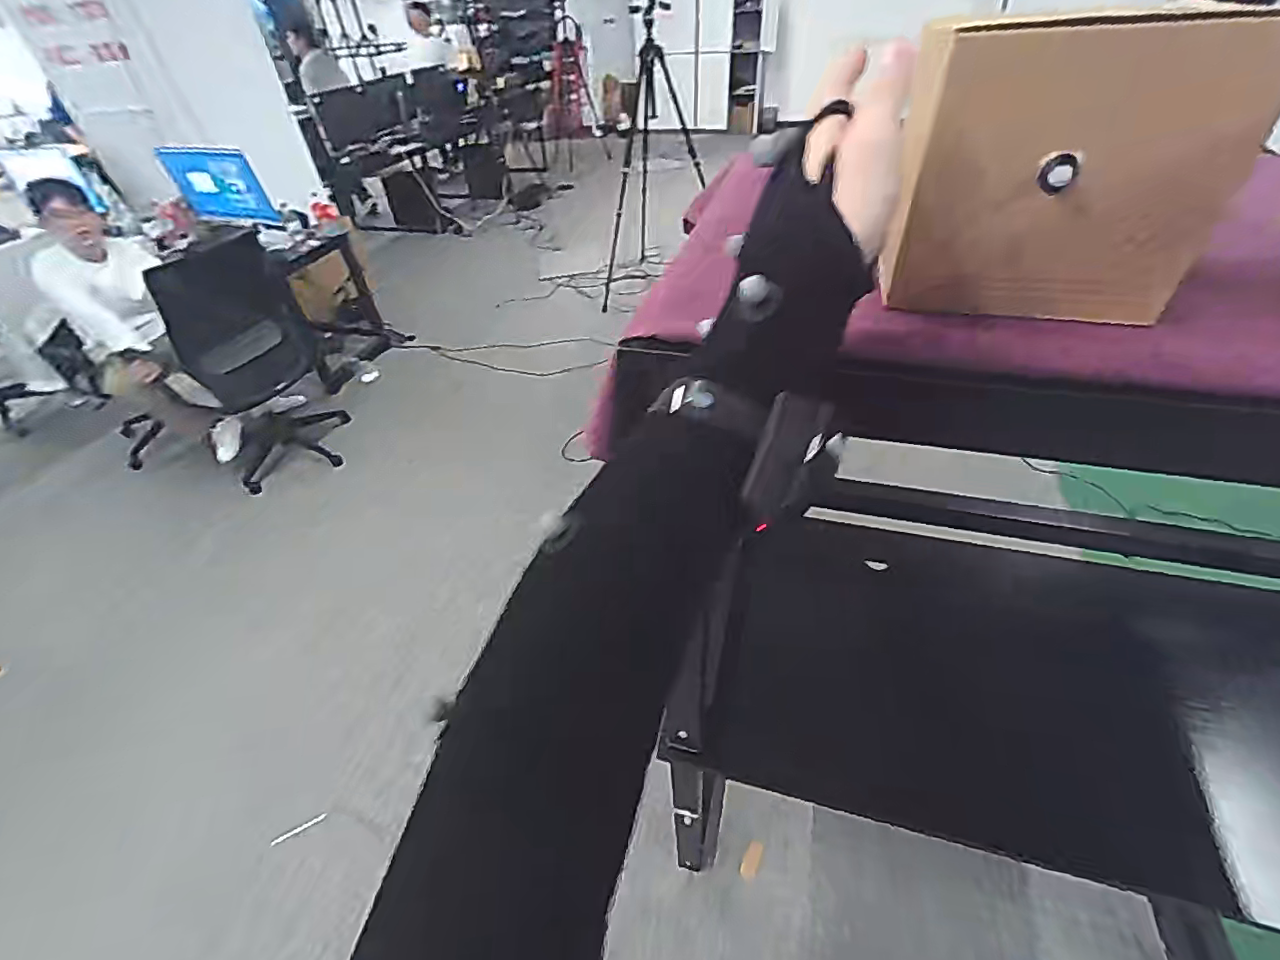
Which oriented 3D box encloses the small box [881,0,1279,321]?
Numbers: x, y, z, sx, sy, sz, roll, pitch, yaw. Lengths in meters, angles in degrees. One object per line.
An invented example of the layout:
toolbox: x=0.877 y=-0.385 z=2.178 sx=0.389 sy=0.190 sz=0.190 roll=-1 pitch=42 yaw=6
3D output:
small box: x=0.287 y=-0.229 z=0.392 sx=0.179 sy=0.176 sz=0.168 roll=8 pitch=43 yaw=16
